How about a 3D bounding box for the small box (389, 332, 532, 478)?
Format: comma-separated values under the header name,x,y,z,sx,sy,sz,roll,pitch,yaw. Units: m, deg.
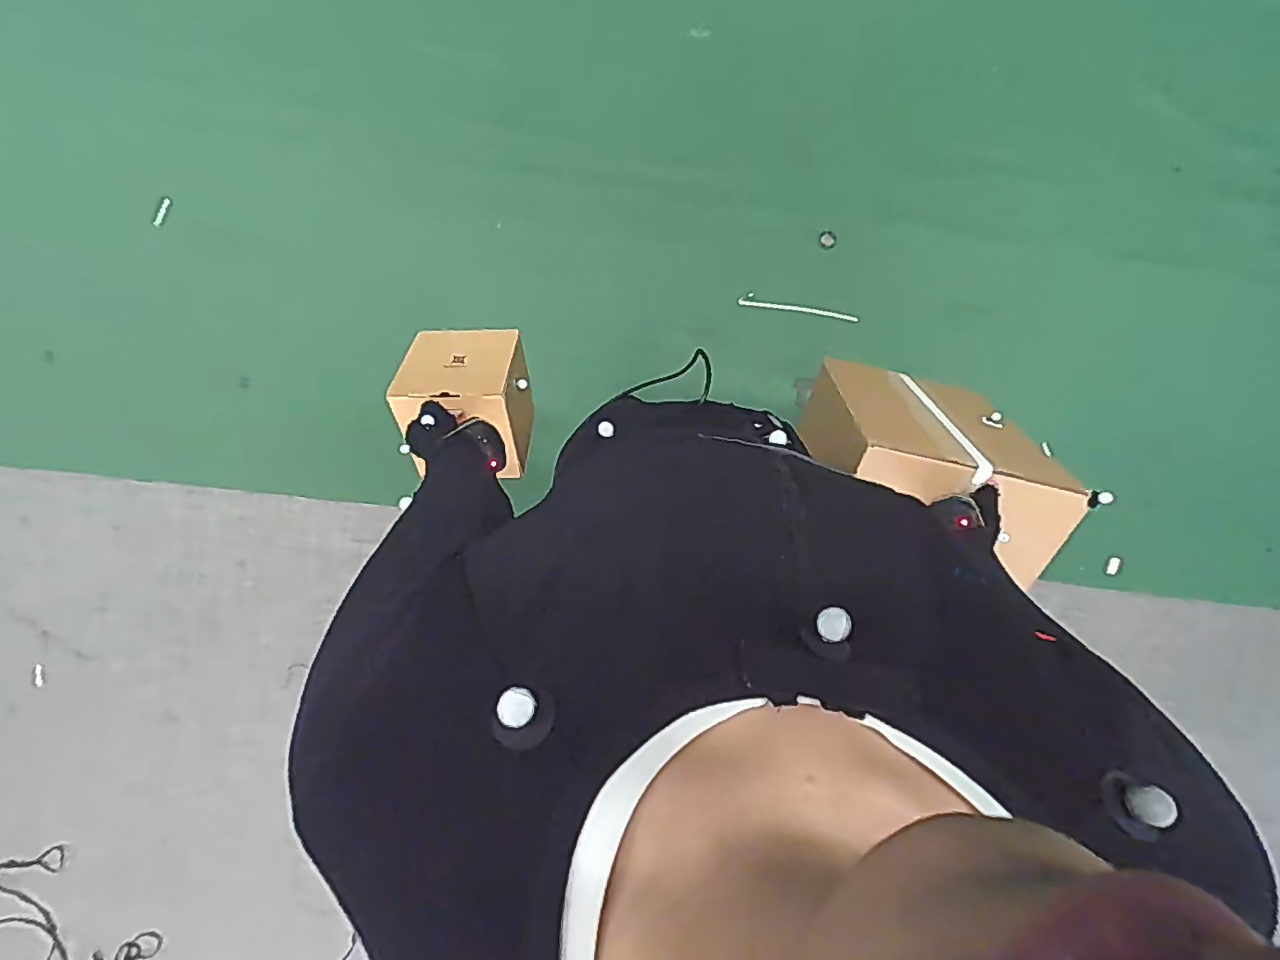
name,x,y,z,sx,sy,sz,roll,pitch,yaw
small box,-0.275,-0.122,0.879,0.168,0.179,0.176,-1,137,0
